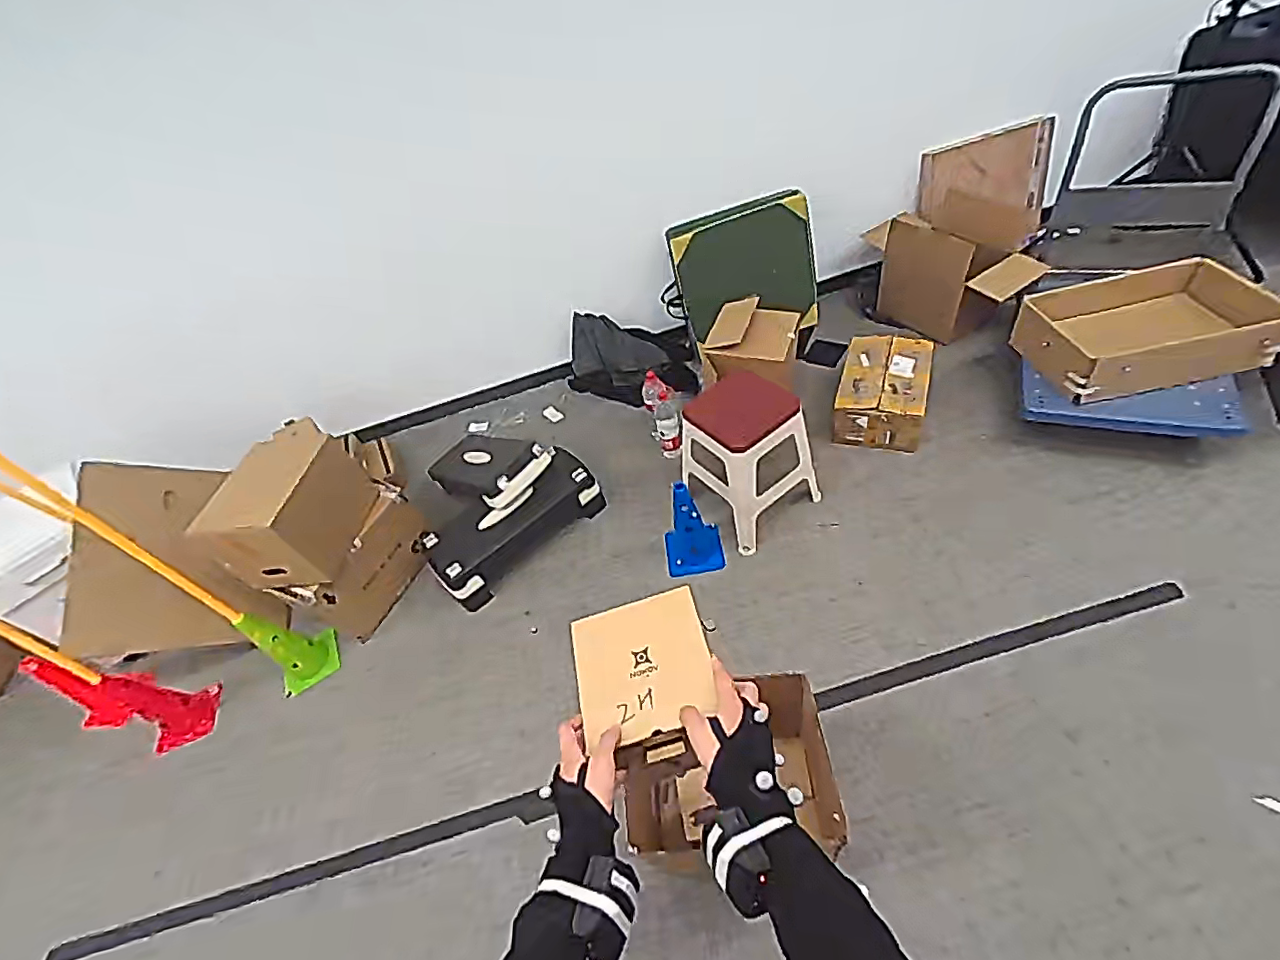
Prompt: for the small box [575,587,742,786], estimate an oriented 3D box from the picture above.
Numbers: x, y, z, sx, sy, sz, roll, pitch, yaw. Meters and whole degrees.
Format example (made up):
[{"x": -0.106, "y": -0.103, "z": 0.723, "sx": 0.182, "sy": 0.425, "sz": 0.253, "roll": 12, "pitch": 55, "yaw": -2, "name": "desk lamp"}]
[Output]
[{"x": 0.025, "y": 0.276, "z": 0.717, "sx": 0.168, "sy": 0.176, "sz": 0.179, "roll": -19, "pitch": 49, "yaw": 3, "name": "small box"}]
